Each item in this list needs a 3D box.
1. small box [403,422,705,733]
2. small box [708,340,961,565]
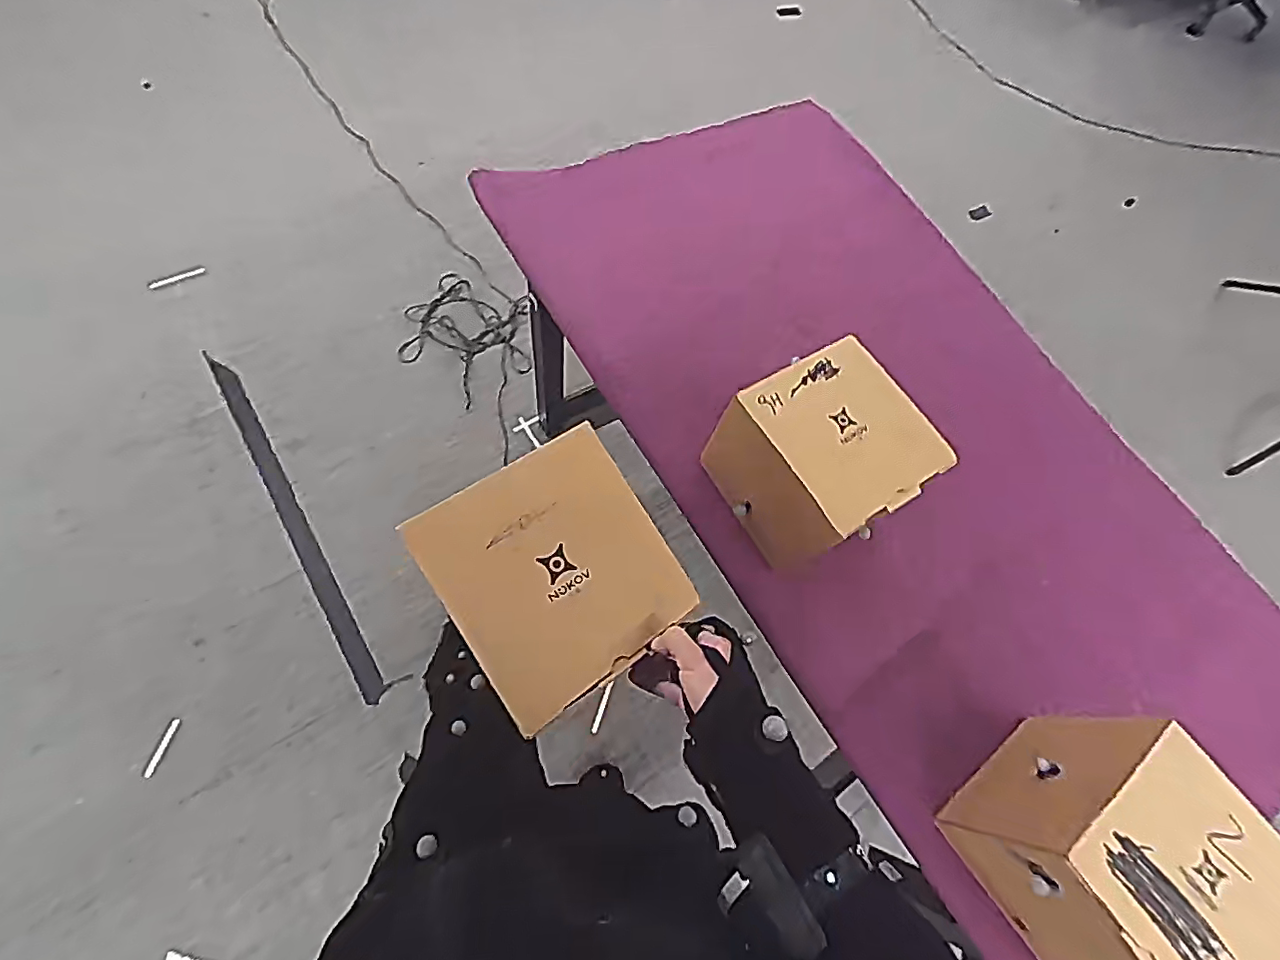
[{"bbox_3d":[-0.079,0.080,0.475,0.168,0.176,0.179,-33,88,-22],"label":"small box"},{"bbox_3d":[0.203,-0.018,0.616,0.168,0.176,0.179,-28,75,-18],"label":"small box"}]
